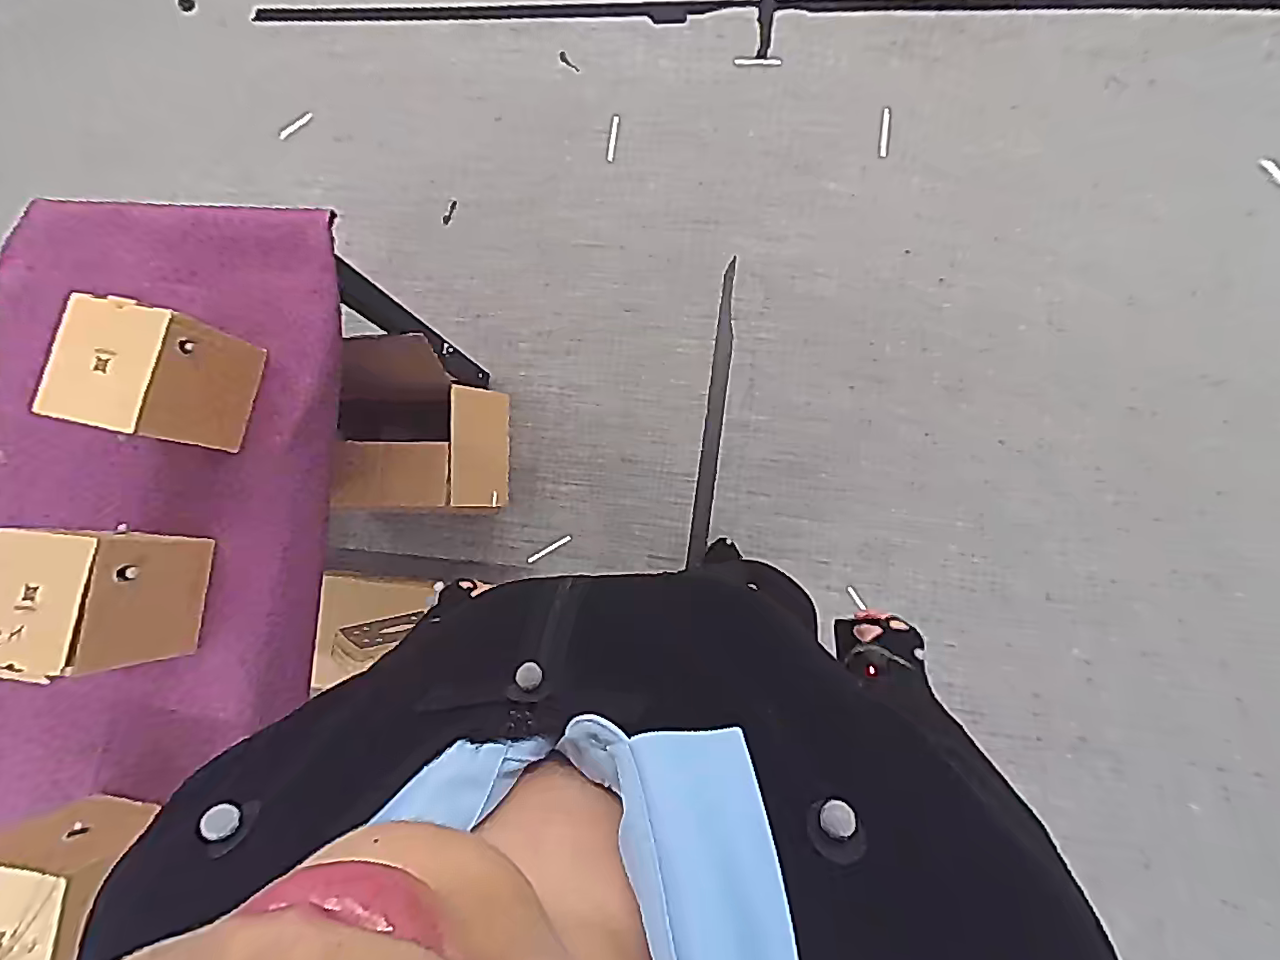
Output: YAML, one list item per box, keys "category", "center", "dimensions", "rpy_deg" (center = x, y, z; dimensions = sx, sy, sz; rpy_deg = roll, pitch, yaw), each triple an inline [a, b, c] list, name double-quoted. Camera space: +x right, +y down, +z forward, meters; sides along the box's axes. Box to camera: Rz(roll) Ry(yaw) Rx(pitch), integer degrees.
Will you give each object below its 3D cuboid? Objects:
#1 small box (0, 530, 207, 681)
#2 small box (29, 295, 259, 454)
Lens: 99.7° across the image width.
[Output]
- category: "small box"
  center: [-0.766, 0.167, 0.766]
  dimensions: [0.168, 0.176, 0.179]
  rpy_deg: [4, 83, 9]
- category: "small box"
  center: [-0.715, -0.145, 0.801]
  dimensions: [0.168, 0.176, 0.179]
  rpy_deg: [11, 84, 8]
